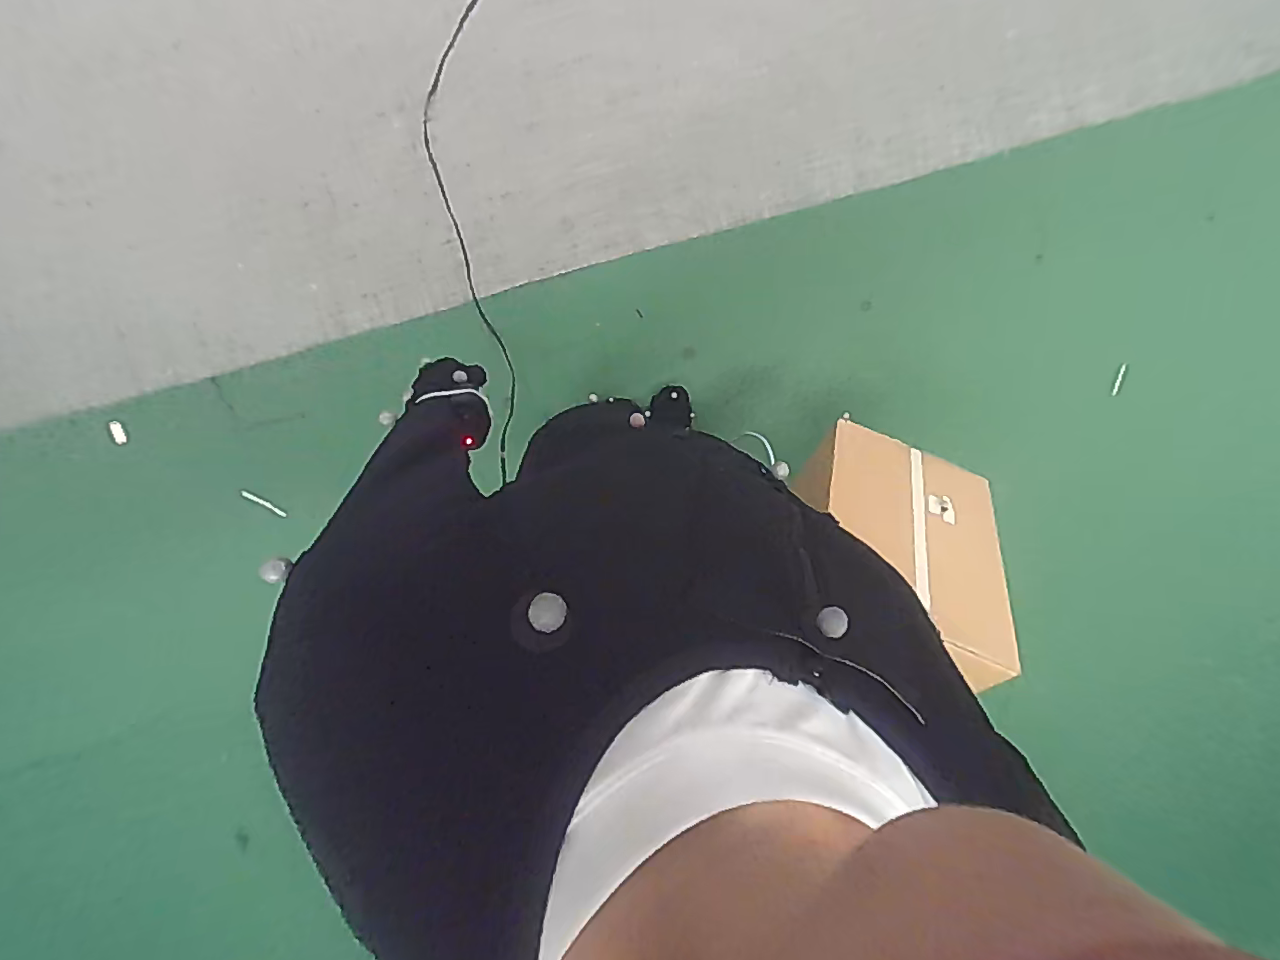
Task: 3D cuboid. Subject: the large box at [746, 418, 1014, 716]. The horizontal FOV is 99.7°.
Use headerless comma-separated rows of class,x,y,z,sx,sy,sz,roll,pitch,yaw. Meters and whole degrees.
large box,0.423,0.163,1.029,0.320,0.408,0.320,23,138,0
